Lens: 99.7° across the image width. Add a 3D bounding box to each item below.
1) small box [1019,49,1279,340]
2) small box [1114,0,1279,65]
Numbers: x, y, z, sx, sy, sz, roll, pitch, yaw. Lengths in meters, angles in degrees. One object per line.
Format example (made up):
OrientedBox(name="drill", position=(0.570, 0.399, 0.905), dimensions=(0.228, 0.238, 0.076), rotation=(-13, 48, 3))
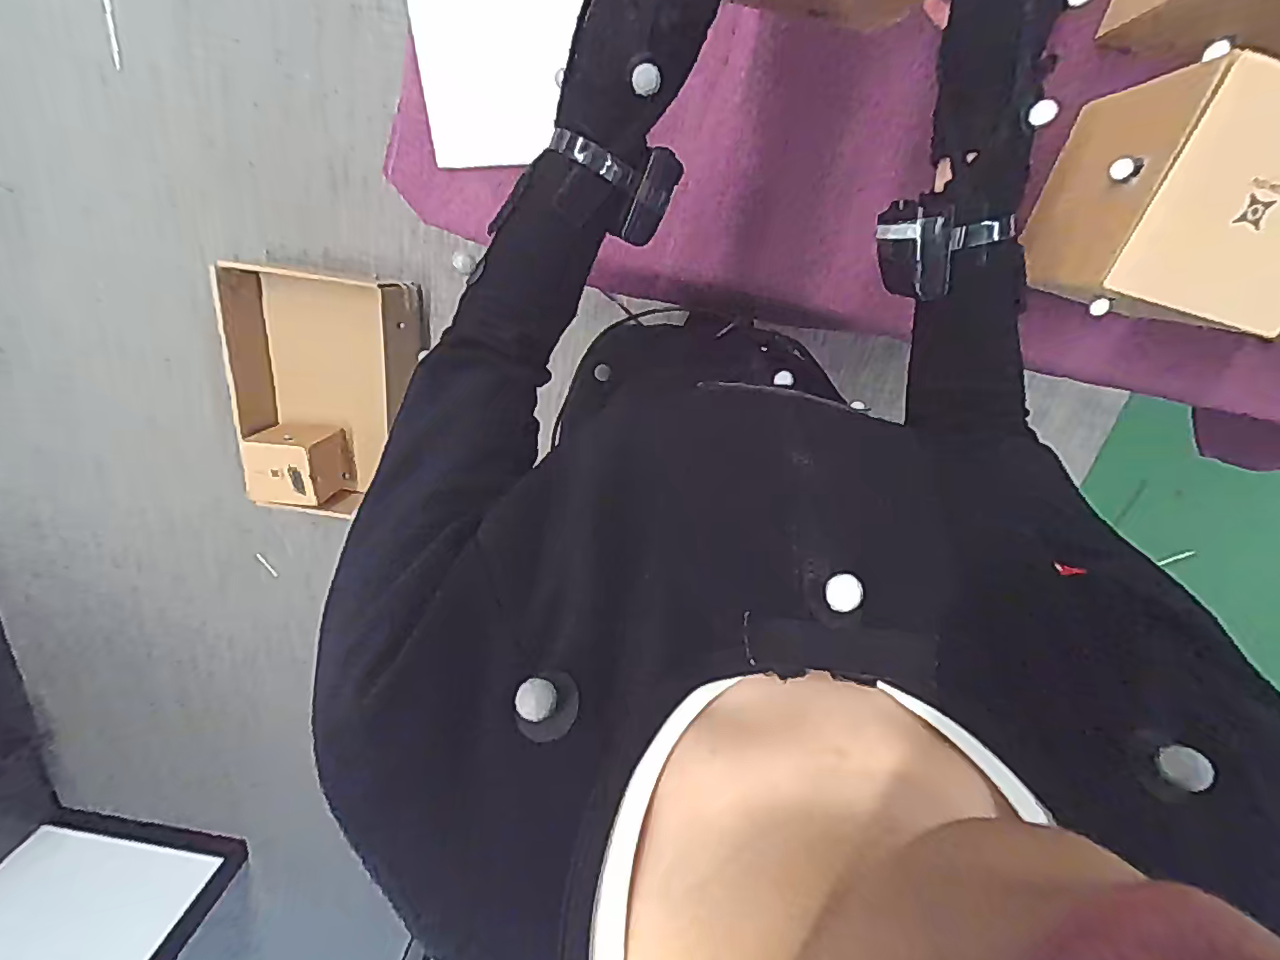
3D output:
OrientedBox(name="small box", position=(0.505, -0.252, 0.508), dimensions=(0.168, 0.176, 0.179), rotation=(16, 114, -2))
OrientedBox(name="small box", position=(0.535, -0.454, 0.416), dimensions=(0.168, 0.176, 0.179), rotation=(14, 113, -1))
